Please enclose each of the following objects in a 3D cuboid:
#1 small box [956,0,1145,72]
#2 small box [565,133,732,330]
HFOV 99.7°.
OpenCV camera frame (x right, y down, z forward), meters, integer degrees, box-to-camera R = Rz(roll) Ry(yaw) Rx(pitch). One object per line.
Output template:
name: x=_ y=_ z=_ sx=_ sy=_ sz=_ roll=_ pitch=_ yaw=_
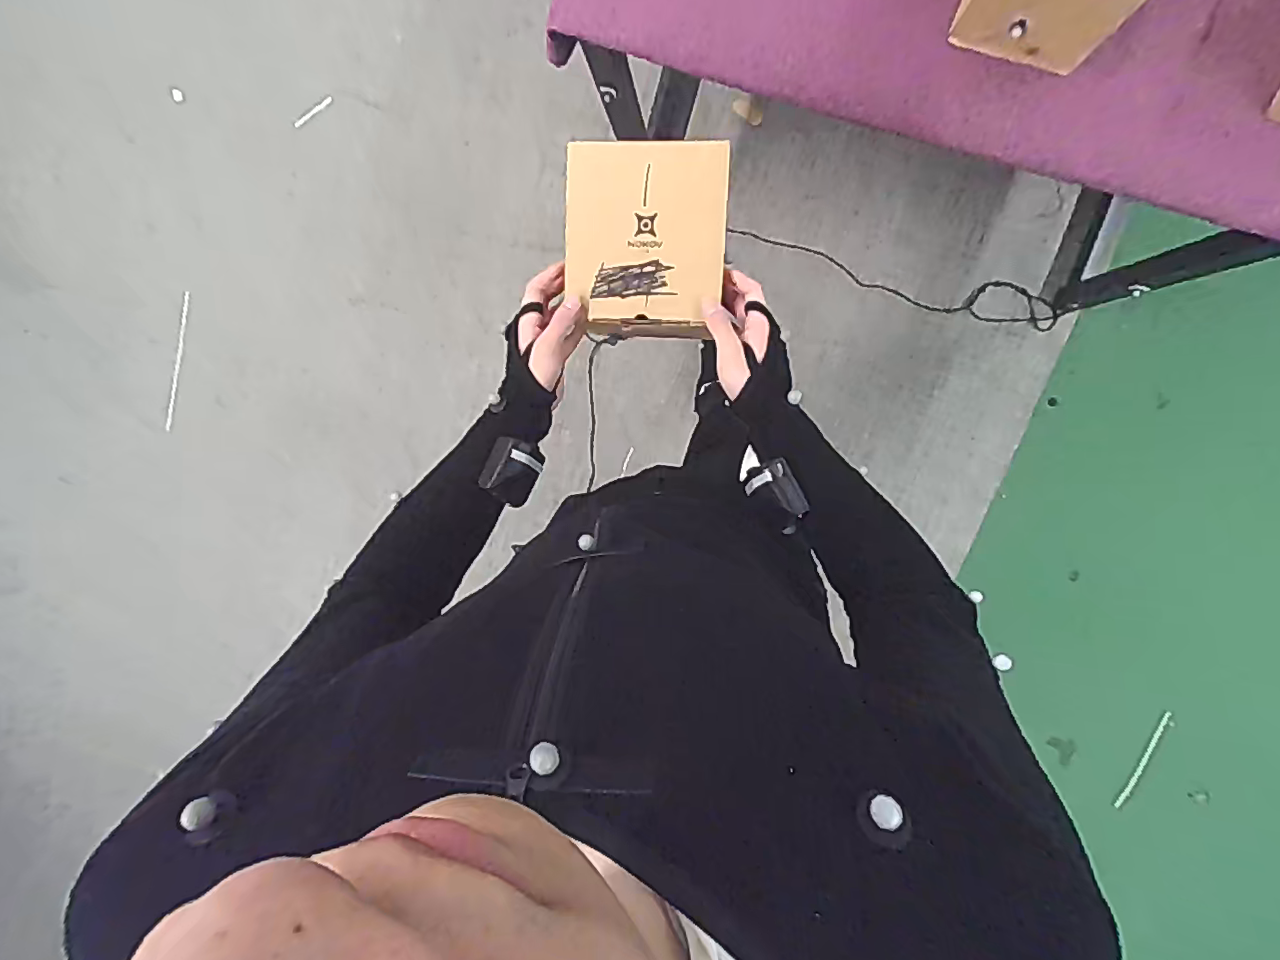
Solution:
small box: x=0.507 y=-0.635 z=0.628 sx=0.168 sy=0.176 sz=0.179 roll=20 pitch=100 yaw=5
small box: x=0.015 y=-0.271 z=0.626 sx=0.168 sy=0.176 sz=0.179 roll=3 pitch=100 yaw=5
